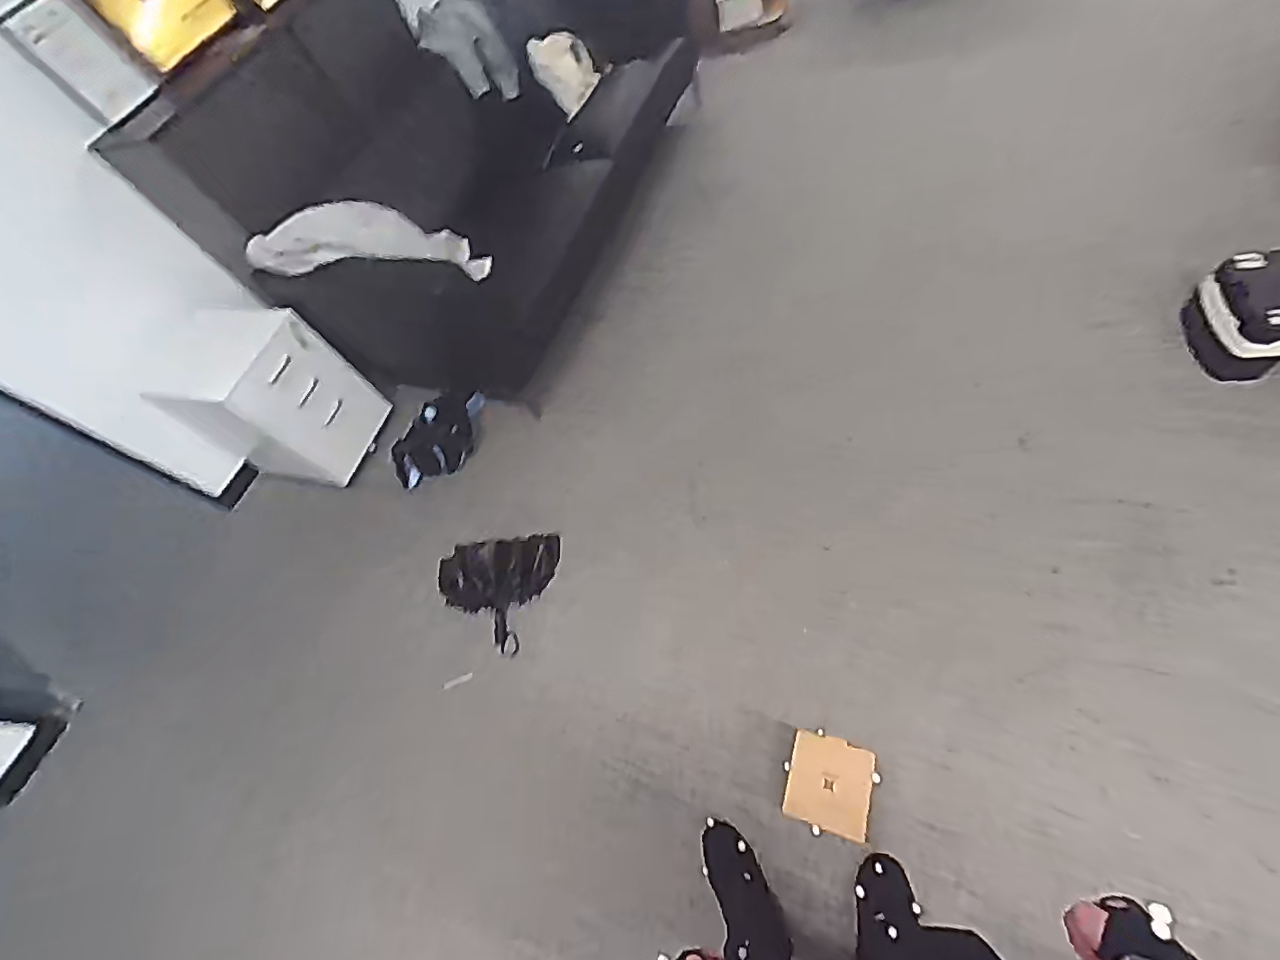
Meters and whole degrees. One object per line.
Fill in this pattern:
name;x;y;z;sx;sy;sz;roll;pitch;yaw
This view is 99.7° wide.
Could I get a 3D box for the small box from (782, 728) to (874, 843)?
small box;0.423;0.682;1.216;0.168;0.176;0.179;8;64;25
